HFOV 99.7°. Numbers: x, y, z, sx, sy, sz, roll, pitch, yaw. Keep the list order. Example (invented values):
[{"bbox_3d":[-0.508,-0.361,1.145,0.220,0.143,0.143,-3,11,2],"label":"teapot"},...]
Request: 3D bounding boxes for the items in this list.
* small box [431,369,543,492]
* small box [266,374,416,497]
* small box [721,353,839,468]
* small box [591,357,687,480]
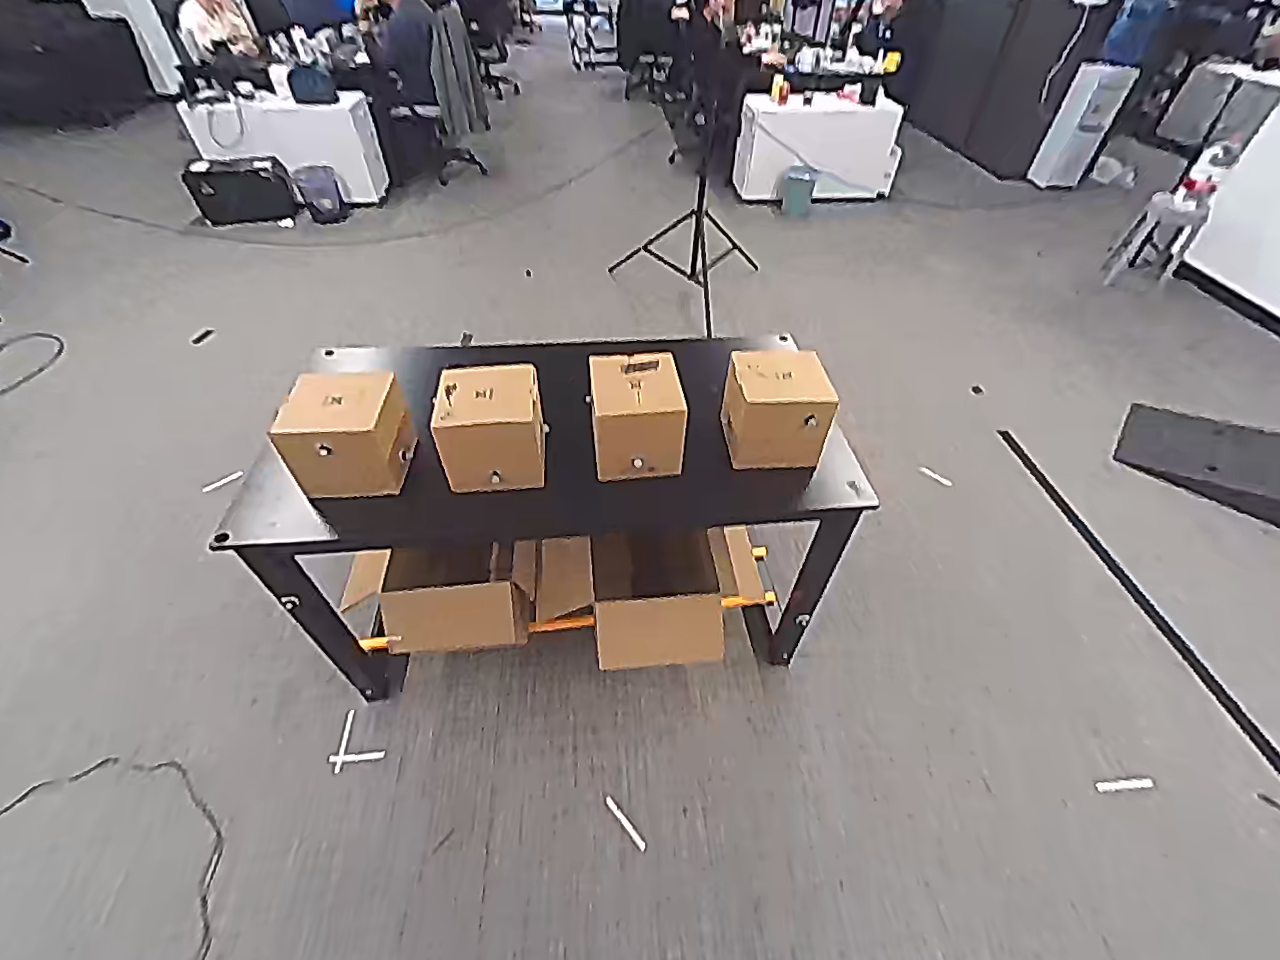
[{"bbox_3d":[-0.278,-0.092,1.027,0.179,0.176,0.168,-4,46,-6],"label":"small box"},{"bbox_3d":[-0.540,-0.080,1.007,0.179,0.176,0.168,-2,47,-5],"label":"small box"},{"bbox_3d":[0.269,-0.138,1.085,0.179,0.176,0.168,-2,45,-3],"label":"small box"},{"bbox_3d":[-0.009,-0.120,1.062,0.168,0.176,0.179,-5,47,-6],"label":"small box"}]
